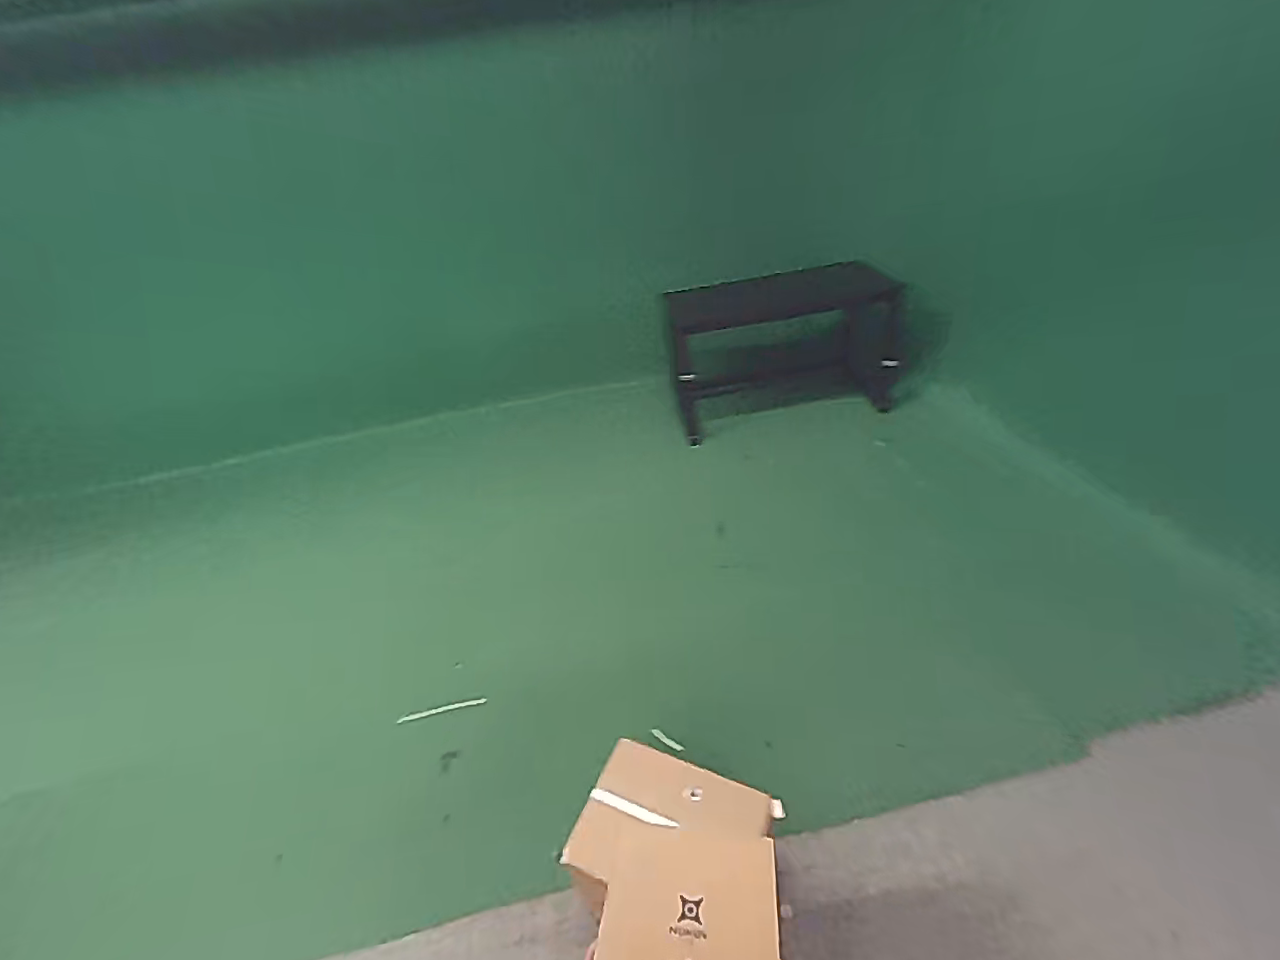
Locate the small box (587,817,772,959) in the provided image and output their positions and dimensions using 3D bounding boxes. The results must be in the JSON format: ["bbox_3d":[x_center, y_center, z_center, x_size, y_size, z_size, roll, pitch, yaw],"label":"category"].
[{"bbox_3d":[0.044,0.483,0.541,0.168,0.176,0.179,0,26,10],"label":"small box"}]
